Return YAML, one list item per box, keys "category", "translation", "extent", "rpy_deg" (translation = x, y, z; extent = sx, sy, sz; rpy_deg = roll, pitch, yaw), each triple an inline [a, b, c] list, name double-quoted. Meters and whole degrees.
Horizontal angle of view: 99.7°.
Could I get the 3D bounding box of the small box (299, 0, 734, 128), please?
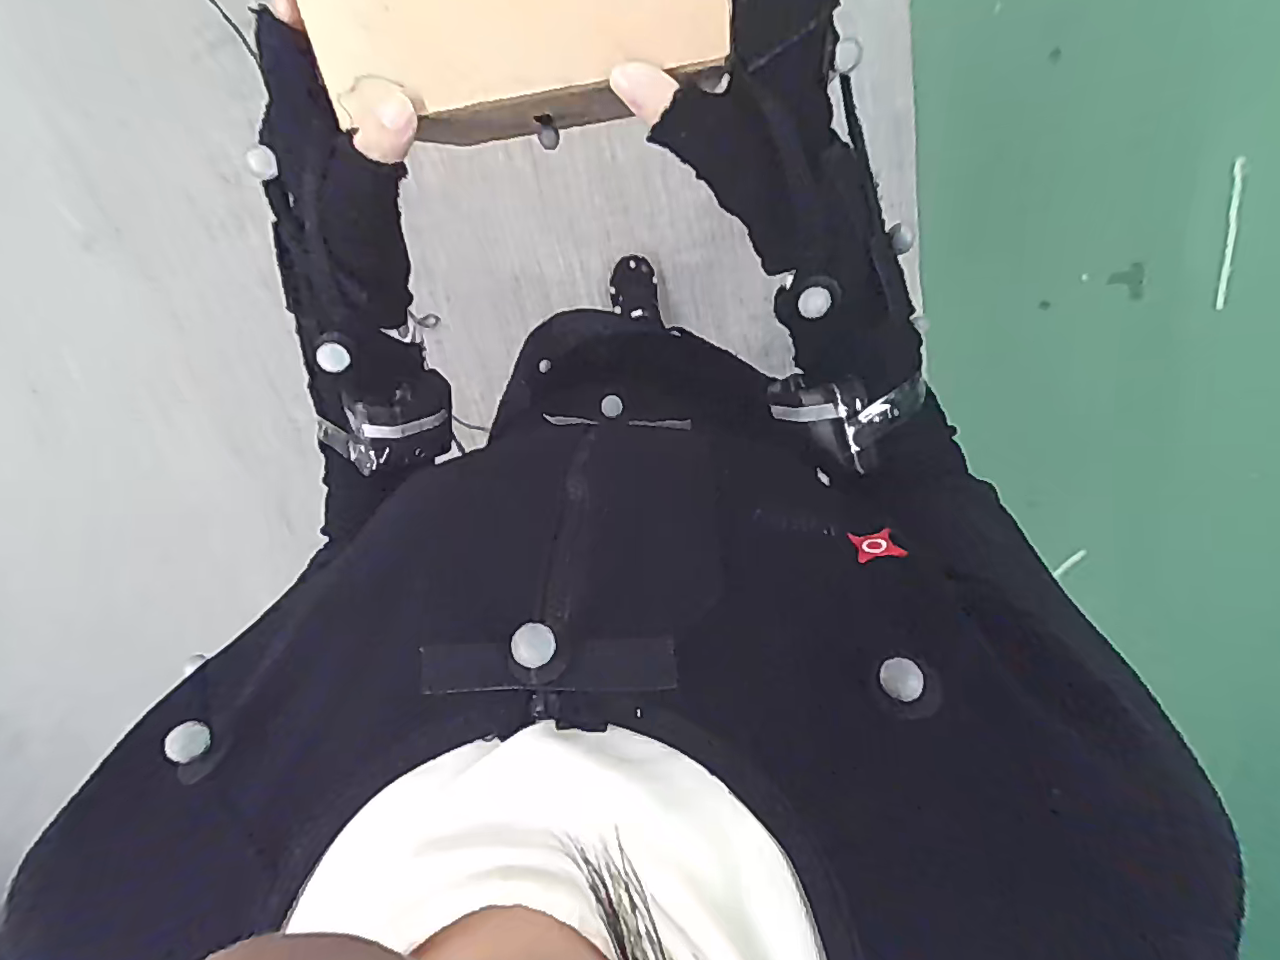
- category: "small box"
  translation: [-0.055, -0.280, 0.257]
  extent: [0.179, 0.176, 0.168]
  rpy_deg: [-6, 119, 7]
